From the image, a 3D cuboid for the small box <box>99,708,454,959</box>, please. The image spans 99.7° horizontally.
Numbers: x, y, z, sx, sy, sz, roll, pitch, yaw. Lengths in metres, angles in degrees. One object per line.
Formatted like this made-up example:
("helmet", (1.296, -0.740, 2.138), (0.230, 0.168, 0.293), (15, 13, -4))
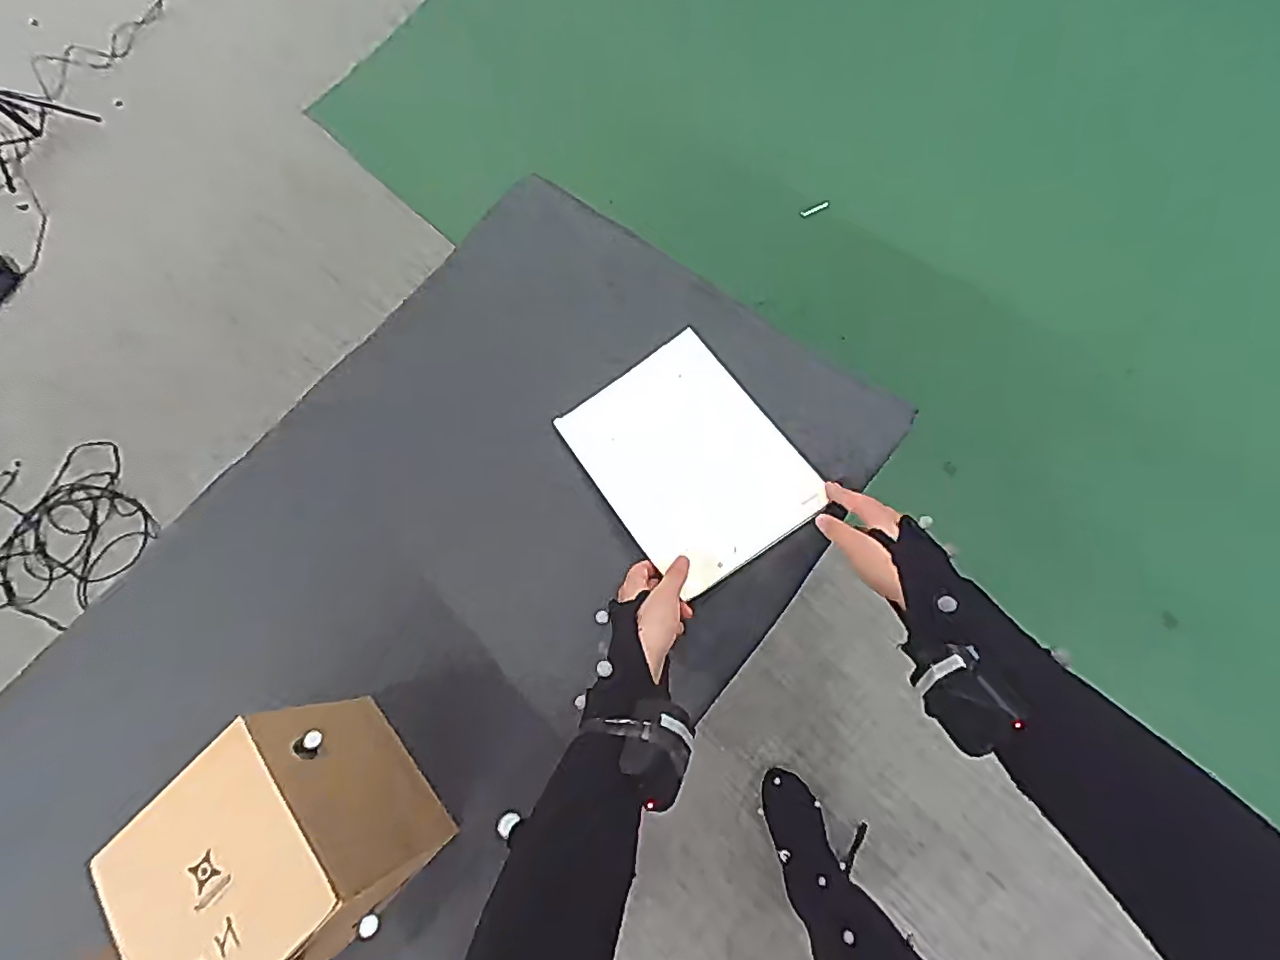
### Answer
("small box", (-0.312, 0.332, 0.494), (0.168, 0.176, 0.179), (-46, 71, -3))
